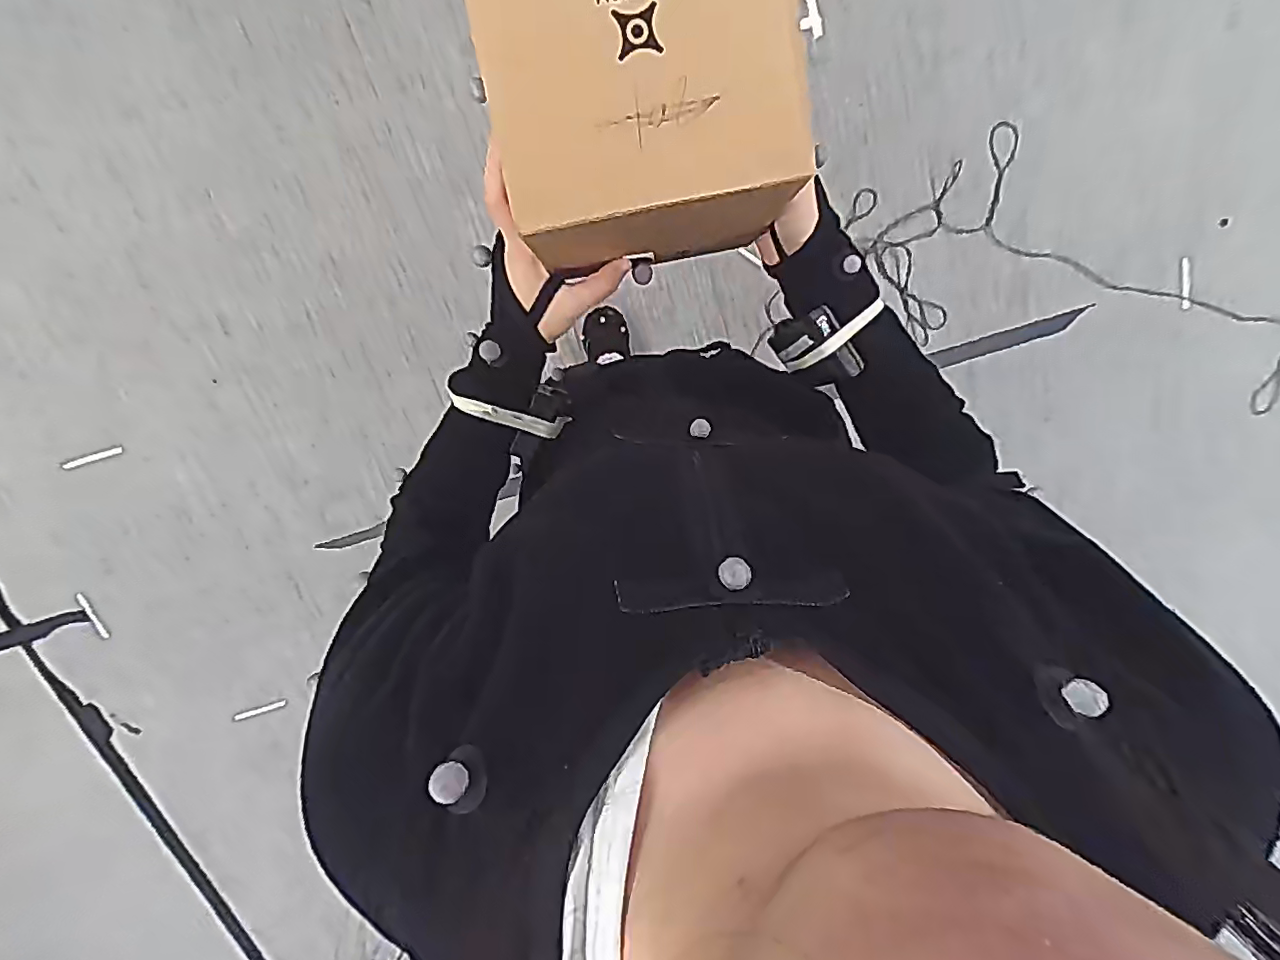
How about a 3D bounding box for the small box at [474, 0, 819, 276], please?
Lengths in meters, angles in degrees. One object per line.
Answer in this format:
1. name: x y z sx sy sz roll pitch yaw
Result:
1. small box: -0.001 -0.250 0.350 0.168 0.176 0.179 -11 101 2
